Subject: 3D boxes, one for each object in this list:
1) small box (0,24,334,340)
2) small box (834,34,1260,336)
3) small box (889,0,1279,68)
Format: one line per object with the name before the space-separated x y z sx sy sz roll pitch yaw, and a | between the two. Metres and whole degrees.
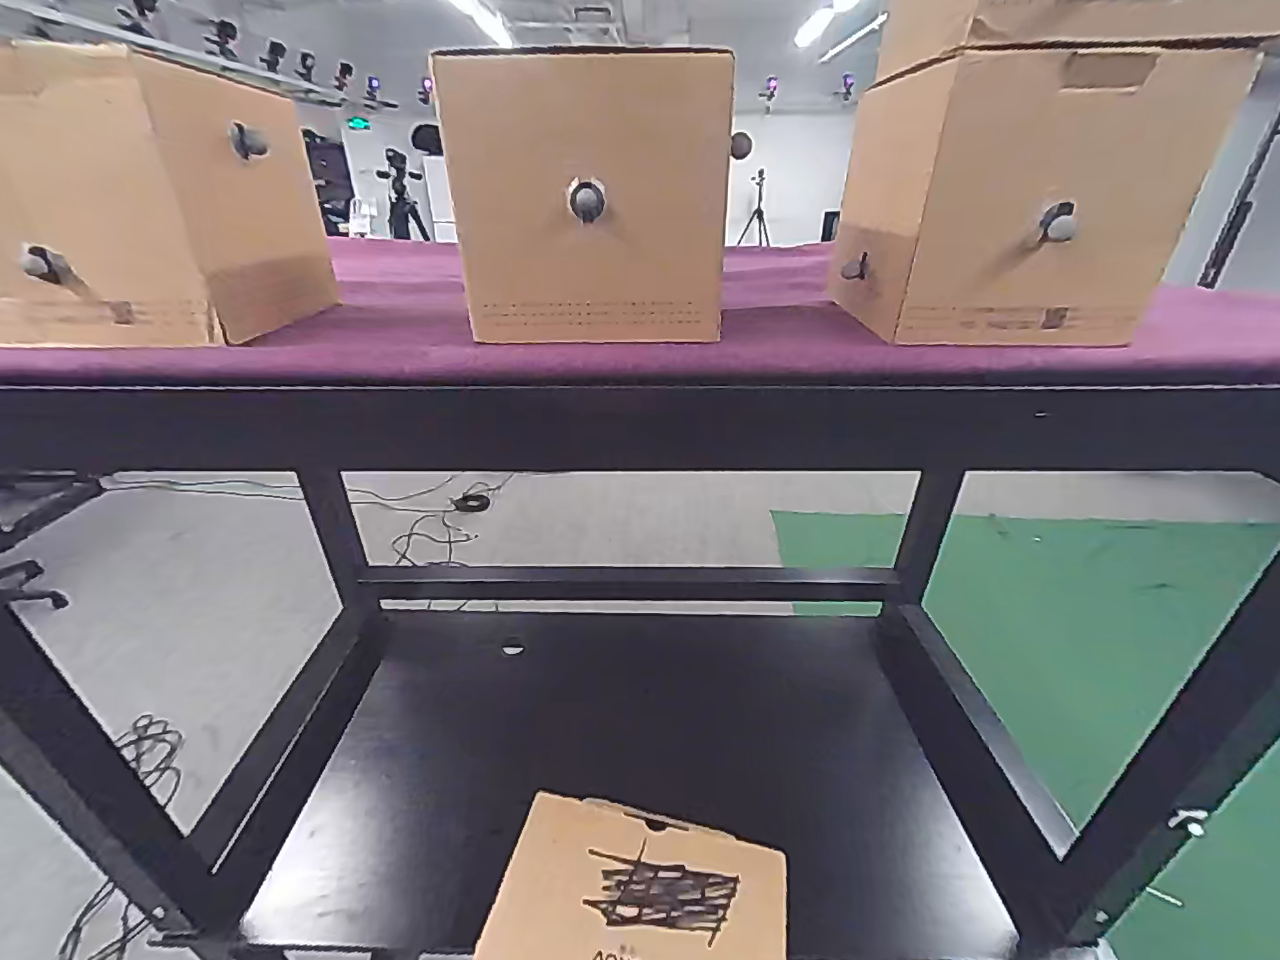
small box | -0.355 -0.209 0.401 0.168 0.176 0.179 -1 28 -3
small box | 0.261 -0.212 0.408 0.168 0.176 0.179 1 30 2
small box | 0.271 -0.353 0.326 0.168 0.176 0.179 1 30 5
